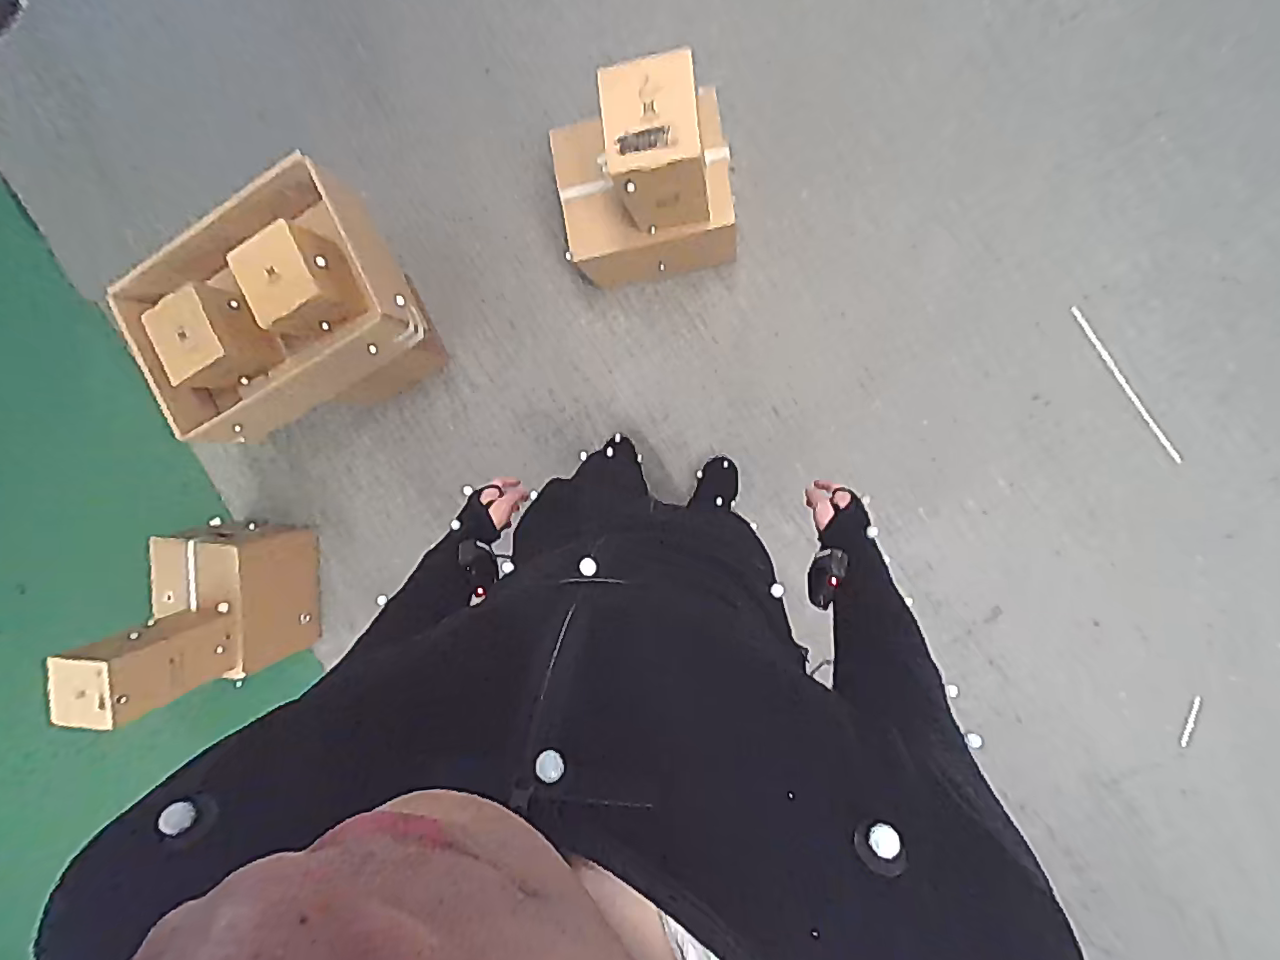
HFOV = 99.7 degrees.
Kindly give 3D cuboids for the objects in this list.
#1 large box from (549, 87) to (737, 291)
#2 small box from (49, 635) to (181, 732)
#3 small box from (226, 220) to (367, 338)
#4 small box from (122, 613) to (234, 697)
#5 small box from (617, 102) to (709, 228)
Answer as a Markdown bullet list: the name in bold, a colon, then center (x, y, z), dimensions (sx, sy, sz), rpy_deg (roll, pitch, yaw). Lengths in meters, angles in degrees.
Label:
- **large box**: center (0.027, -0.720, 1.411), dimensions (0.408, 0.320, 0.320), rpy_deg (-9, 94, 12)
- **small box**: center (-1.296, 0.495, 1.343), dimensions (0.179, 0.176, 0.168), rpy_deg (2, 96, 9)
- **small box**: center (-0.764, -0.441, 1.218), dimensions (0.168, 0.176, 0.179), rpy_deg (-25, 93, 11)
- **small box**: center (-1.280, 0.479, 1.506), dimensions (0.179, 0.176, 0.168), rpy_deg (2, 96, 8)
- **small box**: center (0.056, -0.660, 1.161), dimensions (0.168, 0.176, 0.179), rpy_deg (-5, 96, 10)
